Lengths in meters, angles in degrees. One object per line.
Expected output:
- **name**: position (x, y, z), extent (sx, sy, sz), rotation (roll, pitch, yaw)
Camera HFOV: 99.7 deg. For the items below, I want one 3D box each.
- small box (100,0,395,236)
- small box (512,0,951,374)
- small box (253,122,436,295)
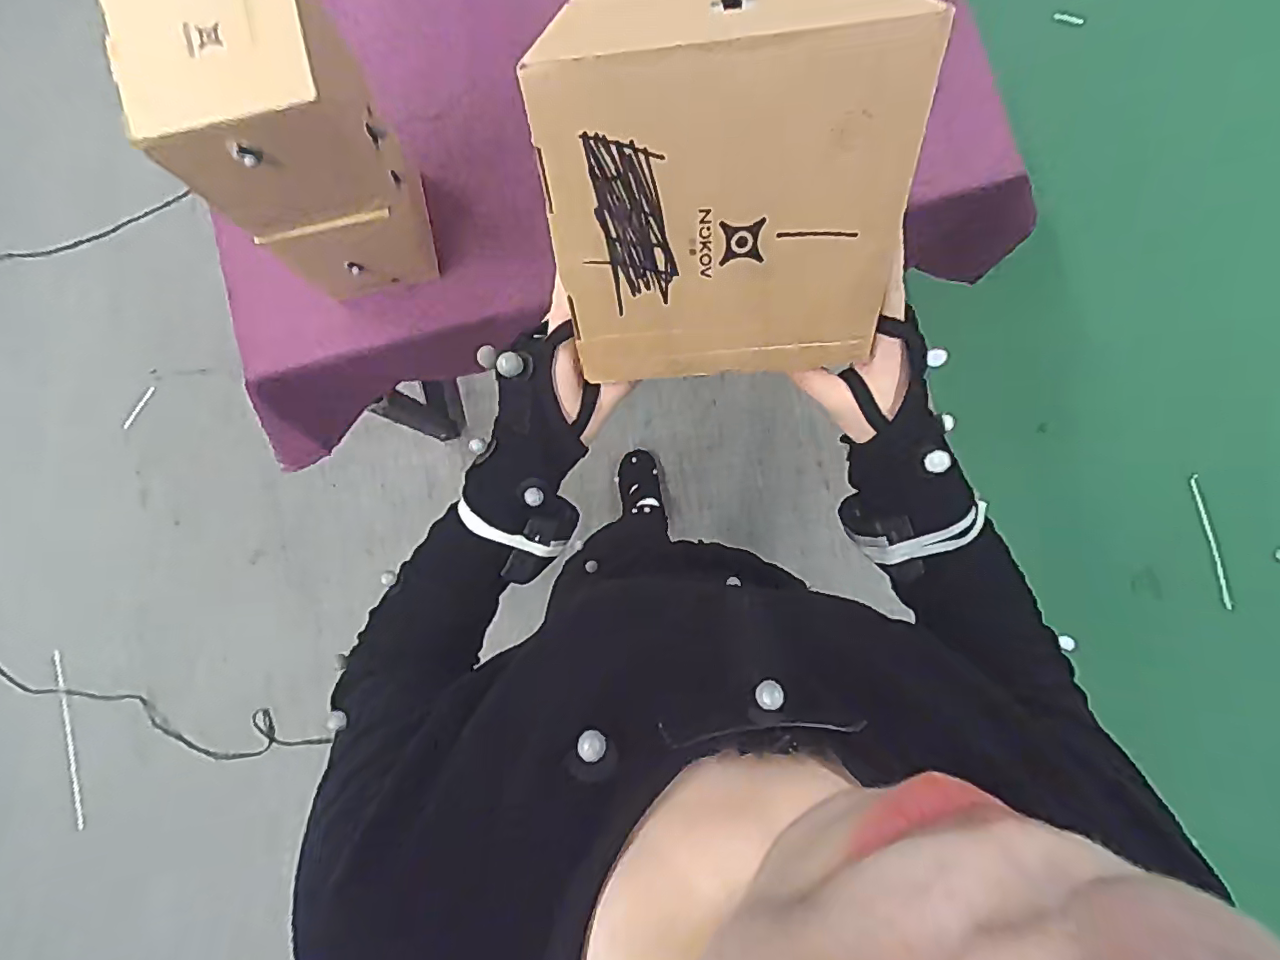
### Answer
- **small box**: position (-0.390, -0.384, 0.566), extent (0.179, 0.176, 0.168), rotation (-14, 86, -1)
- **small box**: position (0.043, -0.184, 0.324), extent (0.179, 0.168, 0.176), rotation (-4, 48, 5)
- **small box**: position (-0.394, -0.368, 0.729), extent (0.168, 0.176, 0.179), rotation (-12, 85, -1)
